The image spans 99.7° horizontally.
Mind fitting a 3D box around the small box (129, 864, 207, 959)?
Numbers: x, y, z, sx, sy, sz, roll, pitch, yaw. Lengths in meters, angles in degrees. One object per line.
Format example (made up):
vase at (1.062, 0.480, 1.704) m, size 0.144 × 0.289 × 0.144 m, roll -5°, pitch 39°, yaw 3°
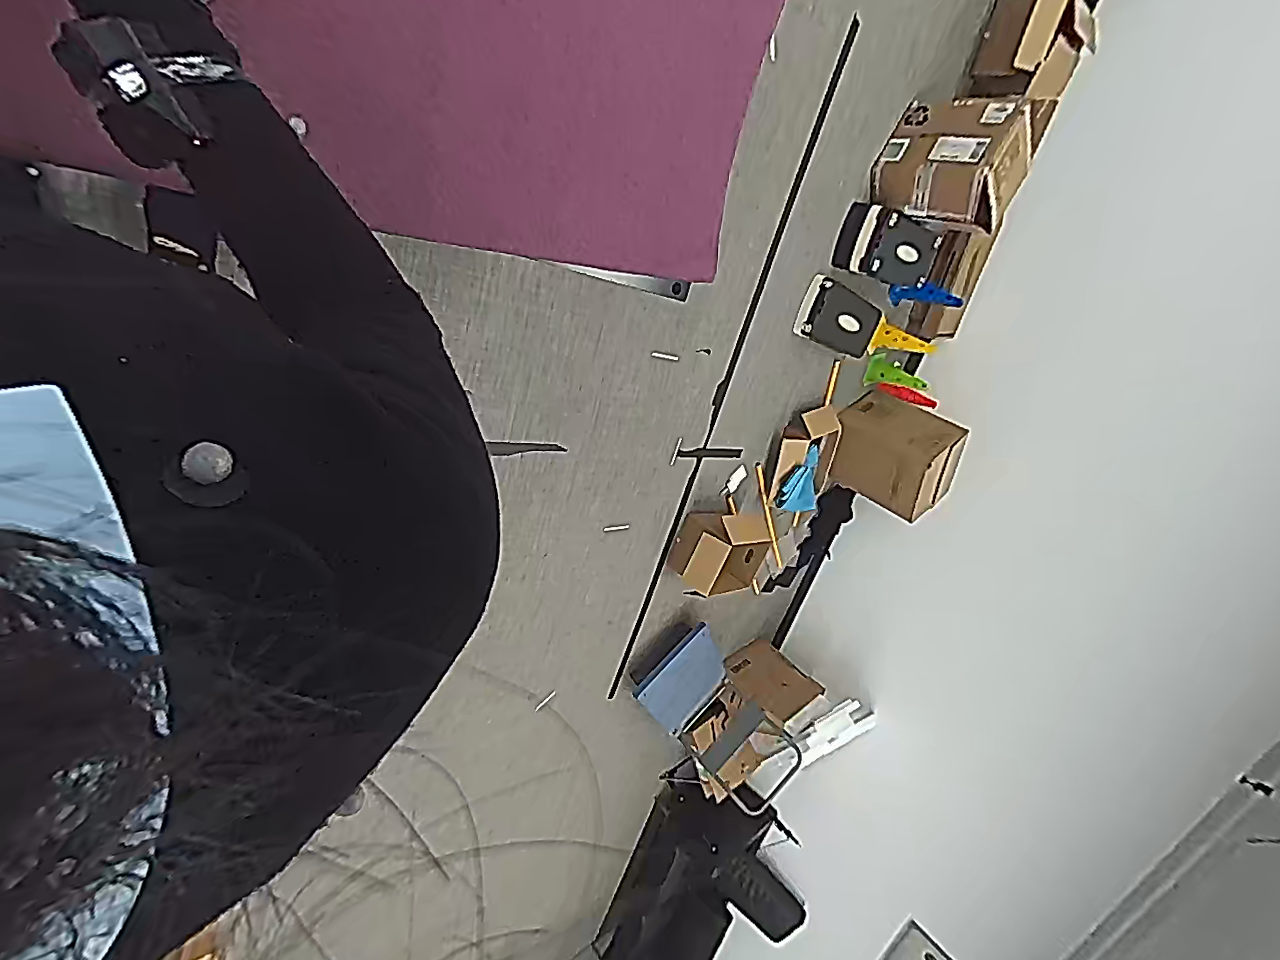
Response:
small box at (-1.498, 1.379, 1.717) m, size 0.168 × 0.176 × 0.179 m, roll -10°, pitch 124°, yaw -43°
